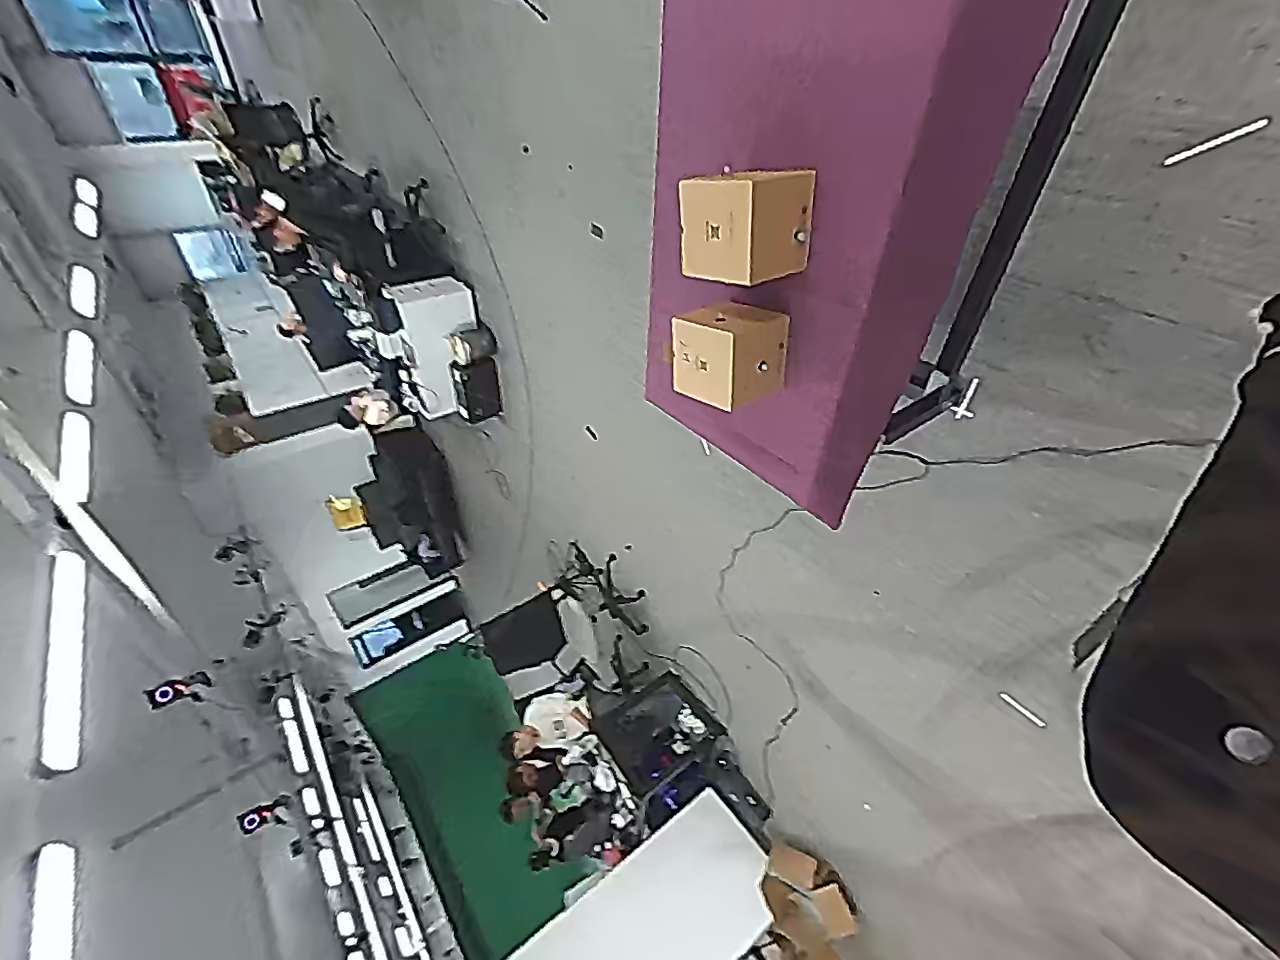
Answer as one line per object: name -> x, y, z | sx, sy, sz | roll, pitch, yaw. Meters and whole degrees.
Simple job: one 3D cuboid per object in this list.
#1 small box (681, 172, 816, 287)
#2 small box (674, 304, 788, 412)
small box -> 0.196, -0.469, 1.002 | 0.179, 0.176, 0.168 | 32, 138, 44
small box -> 0.193, -0.267, 1.155 | 0.179, 0.176, 0.168 | 33, 137, 44
